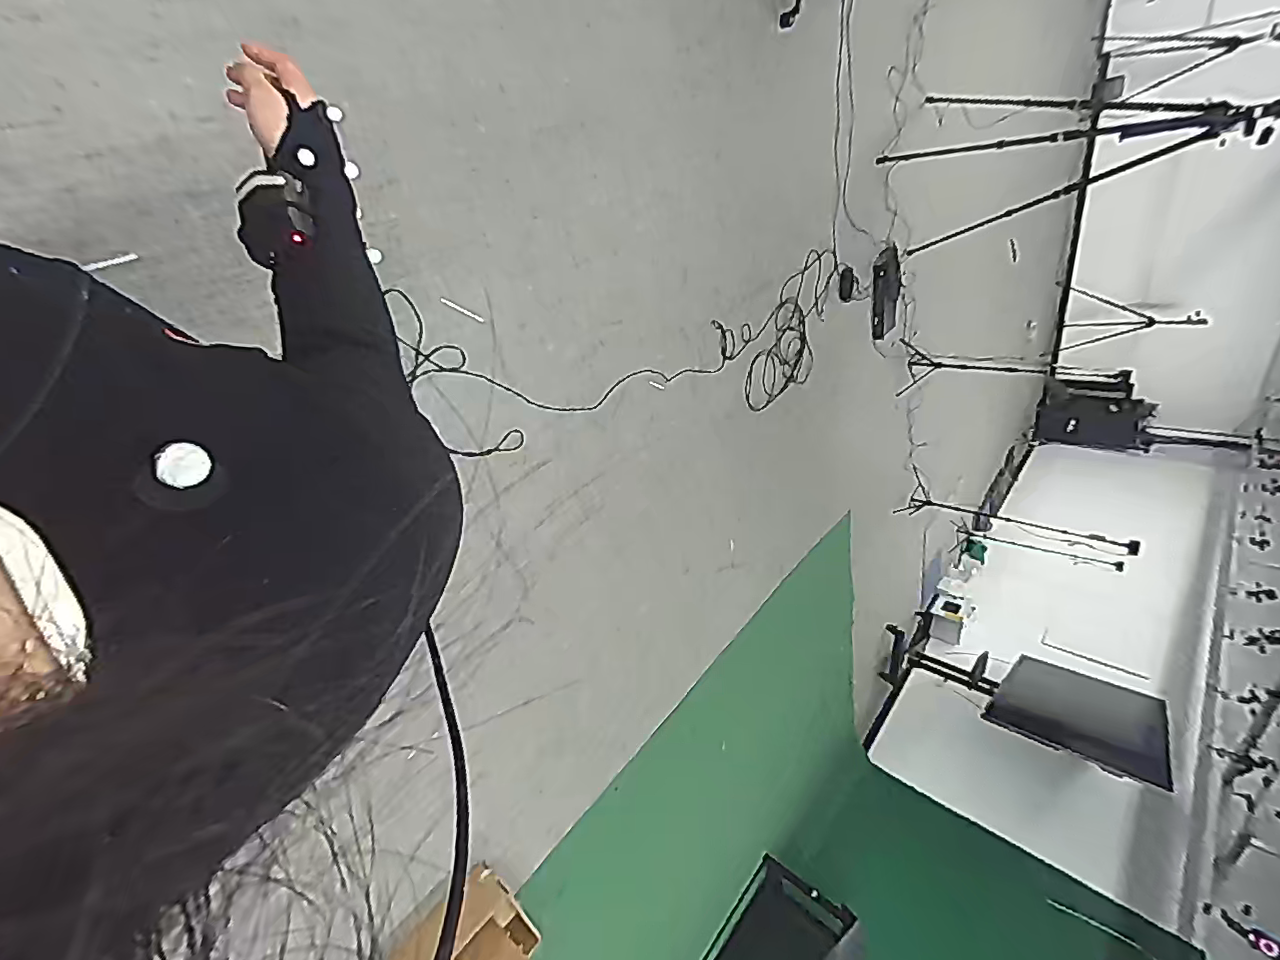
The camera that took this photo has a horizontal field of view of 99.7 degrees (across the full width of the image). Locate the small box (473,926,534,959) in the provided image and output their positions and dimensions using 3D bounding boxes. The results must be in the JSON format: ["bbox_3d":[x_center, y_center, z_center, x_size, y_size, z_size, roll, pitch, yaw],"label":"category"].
[{"bbox_3d":[-0.472,1.728,1.899,0.168,0.176,0.179,-39,127,-32],"label":"small box"}]
